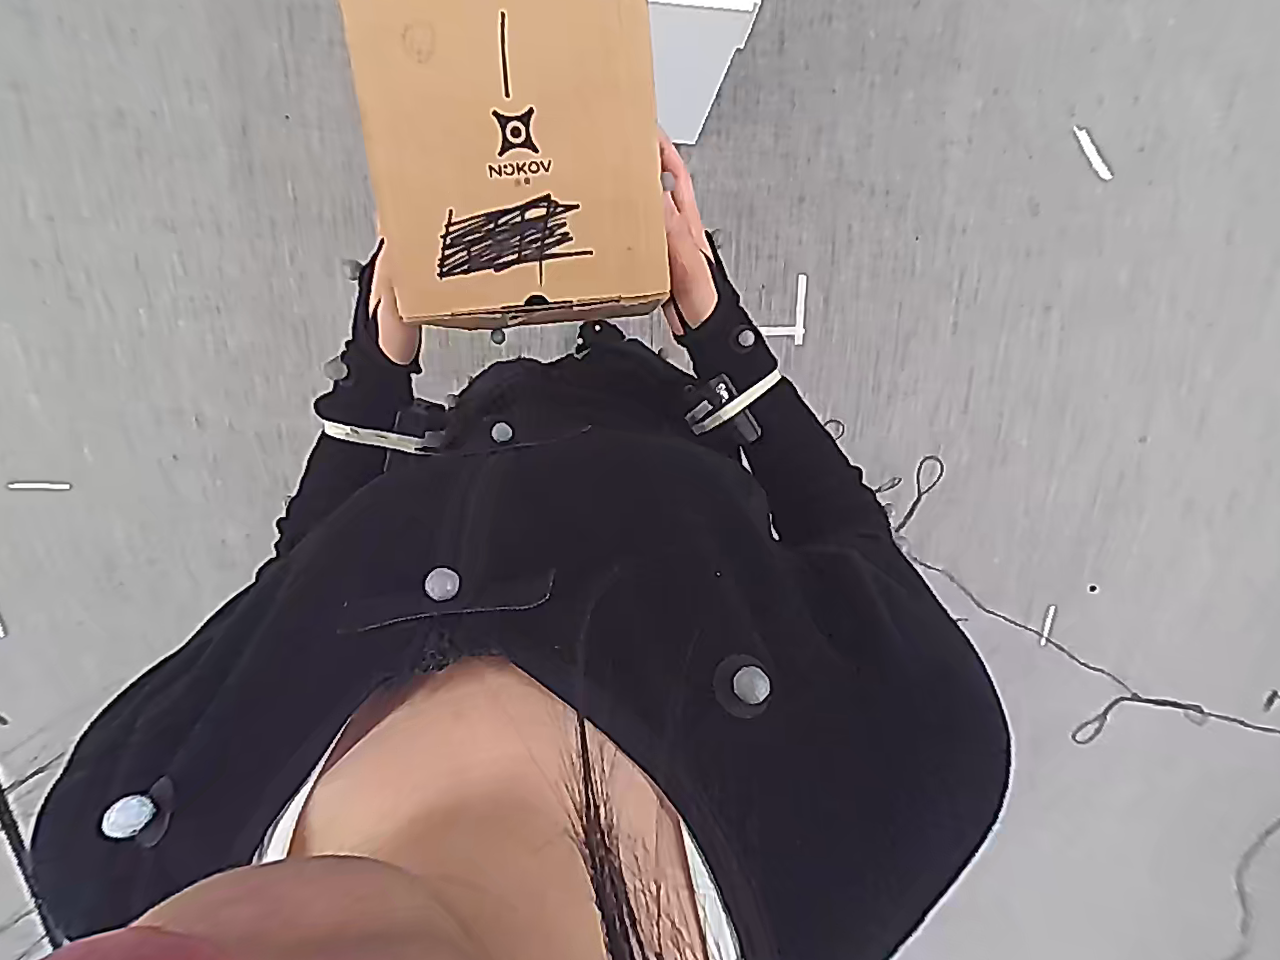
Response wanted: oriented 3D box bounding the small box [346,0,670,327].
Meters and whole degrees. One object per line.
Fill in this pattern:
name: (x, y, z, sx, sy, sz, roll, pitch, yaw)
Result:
small box: (-0.073, -0.205, 0.385, 0.168, 0.176, 0.179, -6, 103, -3)
